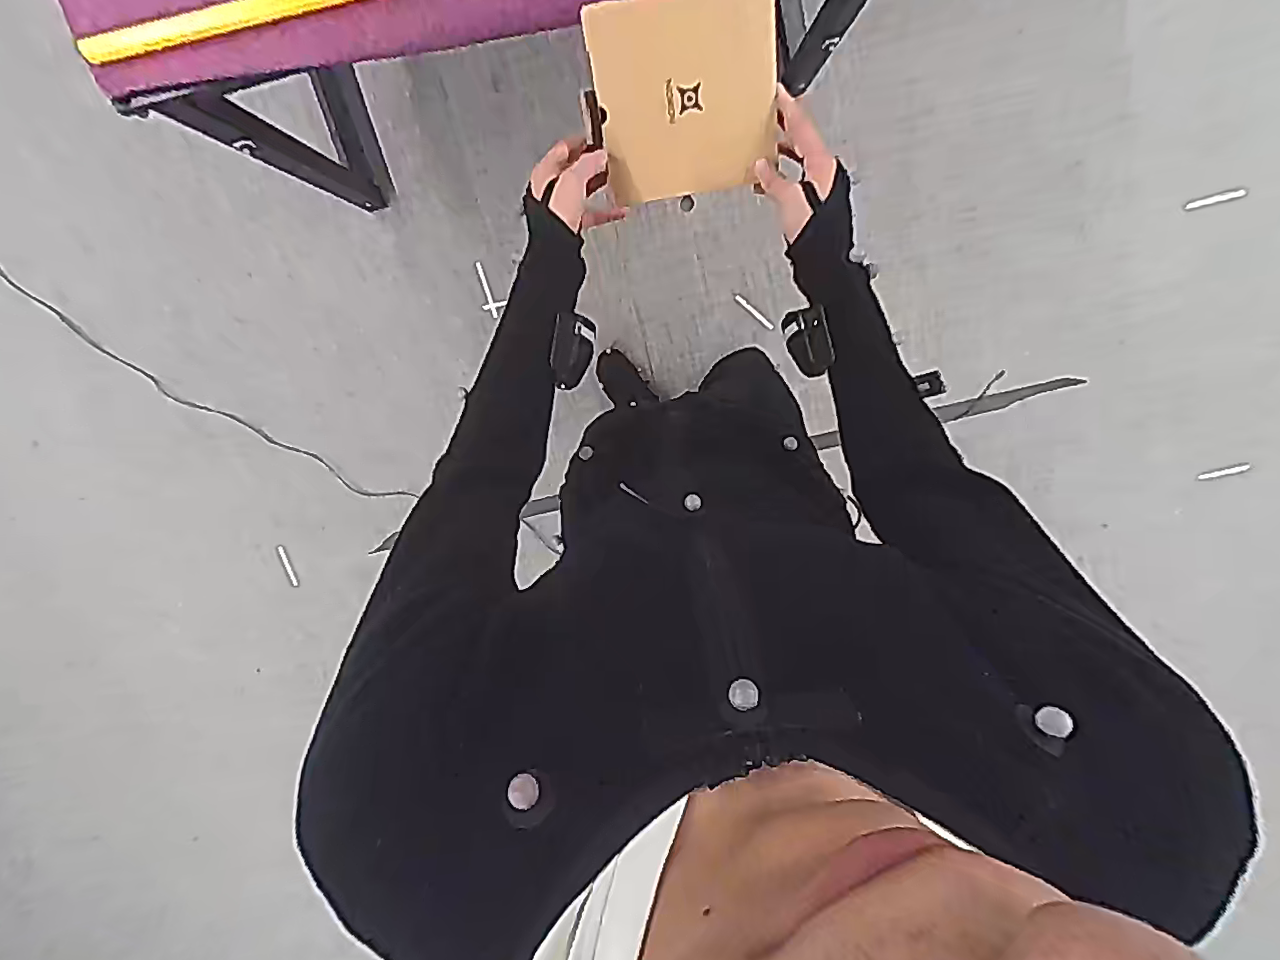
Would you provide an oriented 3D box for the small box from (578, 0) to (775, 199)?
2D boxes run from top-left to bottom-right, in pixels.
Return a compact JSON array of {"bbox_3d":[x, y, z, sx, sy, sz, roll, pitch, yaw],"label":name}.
[{"bbox_3d":[0.044,-0.412,0.583,0.179,0.176,0.168,-5,120,8],"label":"small box"}]
